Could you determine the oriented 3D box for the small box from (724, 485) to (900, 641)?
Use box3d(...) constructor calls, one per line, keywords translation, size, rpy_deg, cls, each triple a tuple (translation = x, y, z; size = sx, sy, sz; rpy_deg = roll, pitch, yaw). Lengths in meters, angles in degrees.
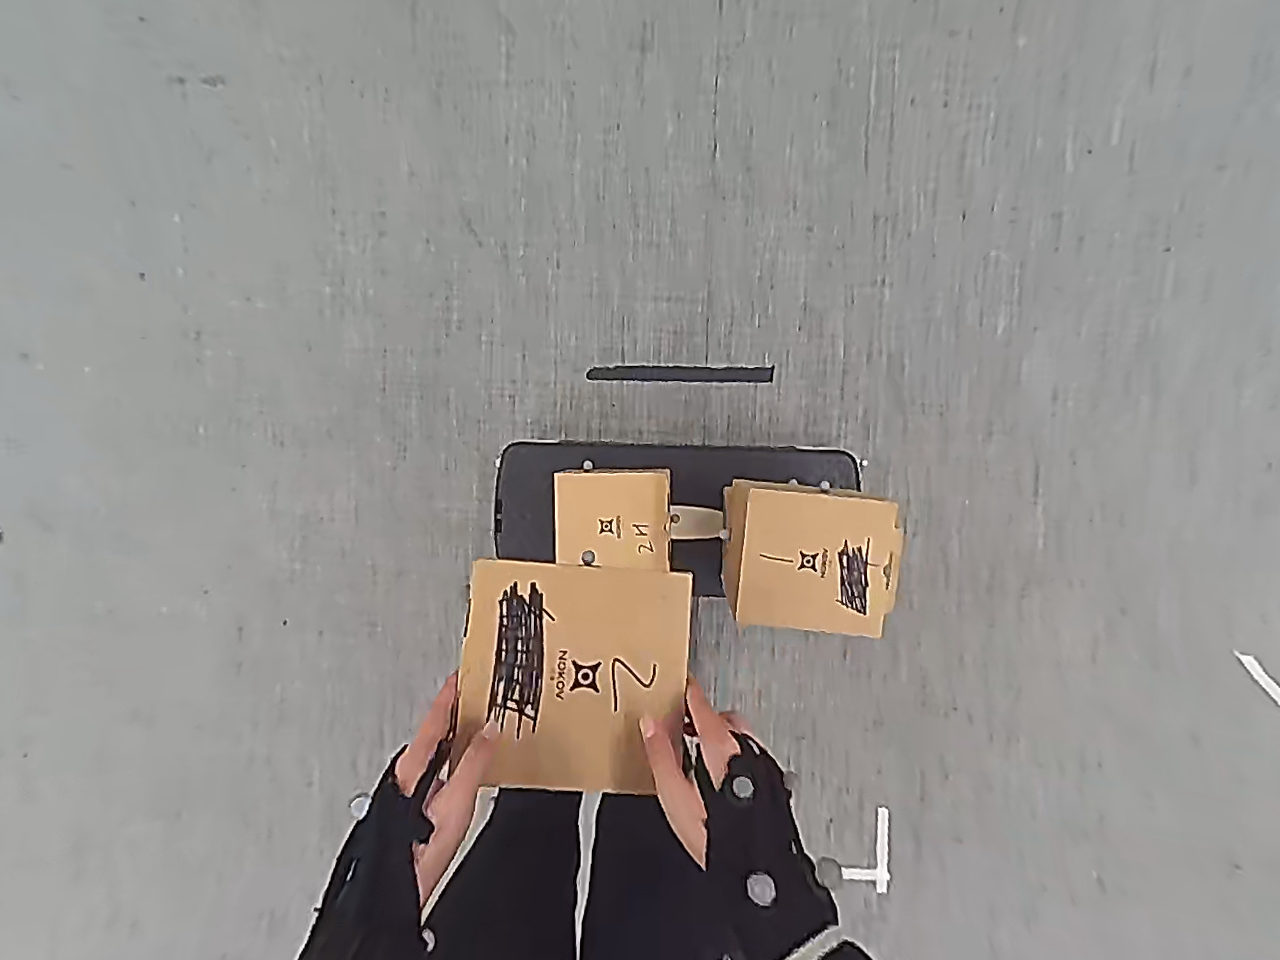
box3d(translation=(0.215, 0.098, 0.718), size=(0.179, 0.176, 0.168), rpy_deg=(6, 93, 3), cls="small box")
